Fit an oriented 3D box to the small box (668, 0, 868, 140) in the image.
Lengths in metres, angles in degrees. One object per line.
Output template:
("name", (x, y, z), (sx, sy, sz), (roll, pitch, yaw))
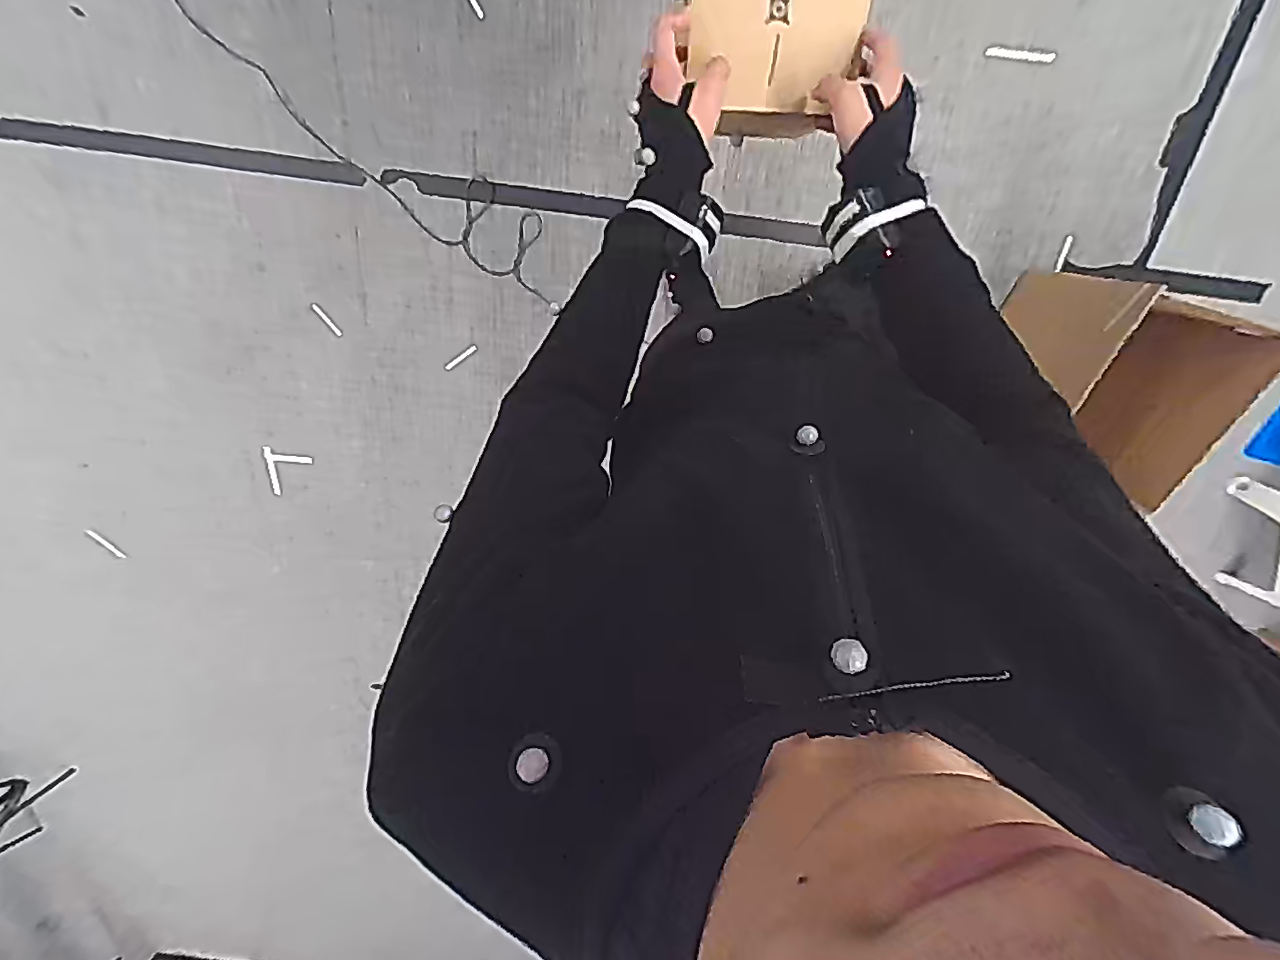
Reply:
("small box", (0.118, -0.462, 0.550), (0.168, 0.176, 0.179), (0, 116, -2))
